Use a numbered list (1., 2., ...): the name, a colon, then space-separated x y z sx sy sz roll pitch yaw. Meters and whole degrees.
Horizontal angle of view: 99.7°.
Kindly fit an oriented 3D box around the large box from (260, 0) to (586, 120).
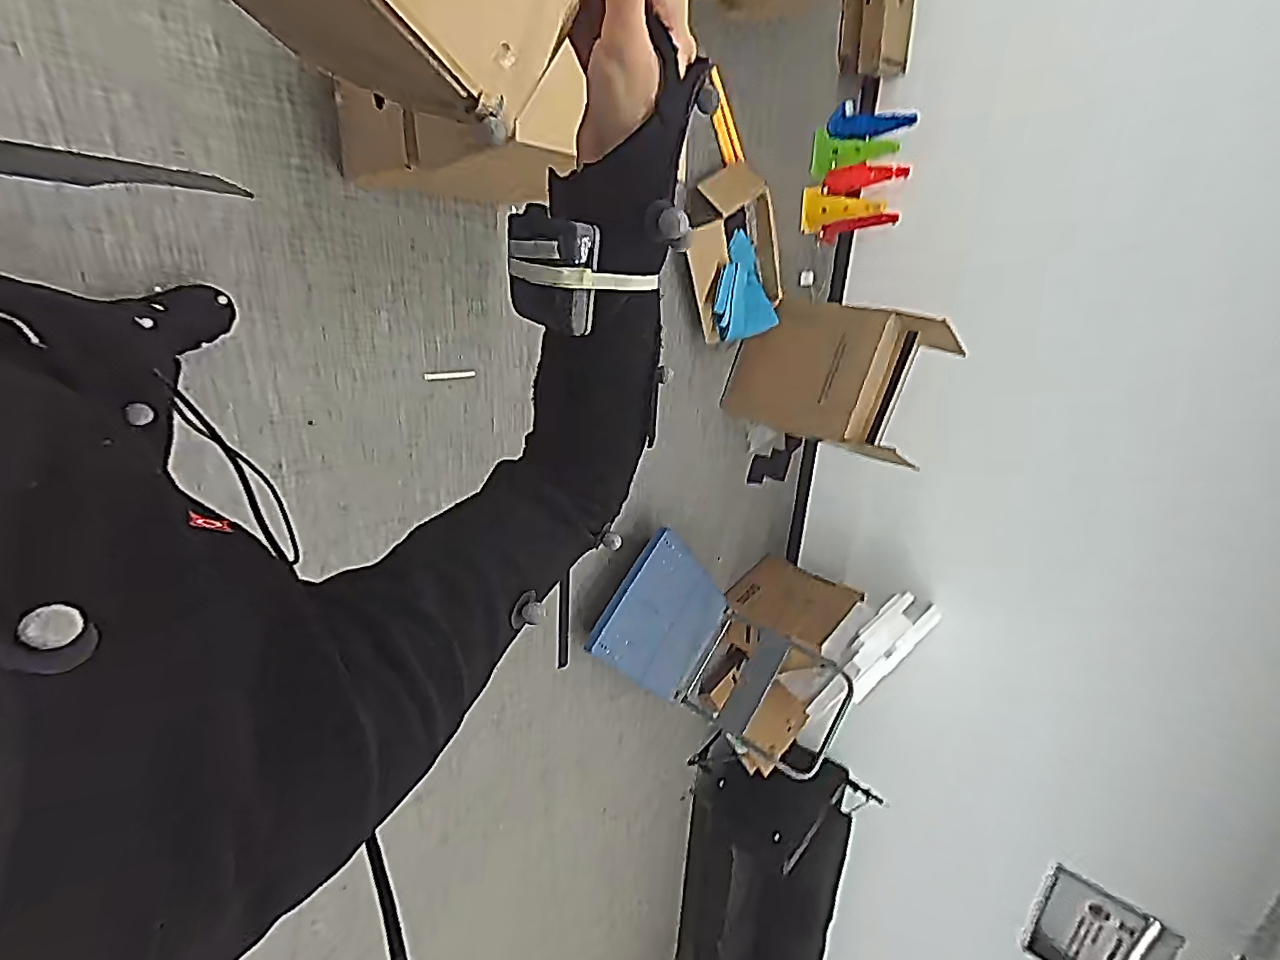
1. large box: -0.127 -0.453 0.195 0.408 0.320 0.320 -55 146 9
